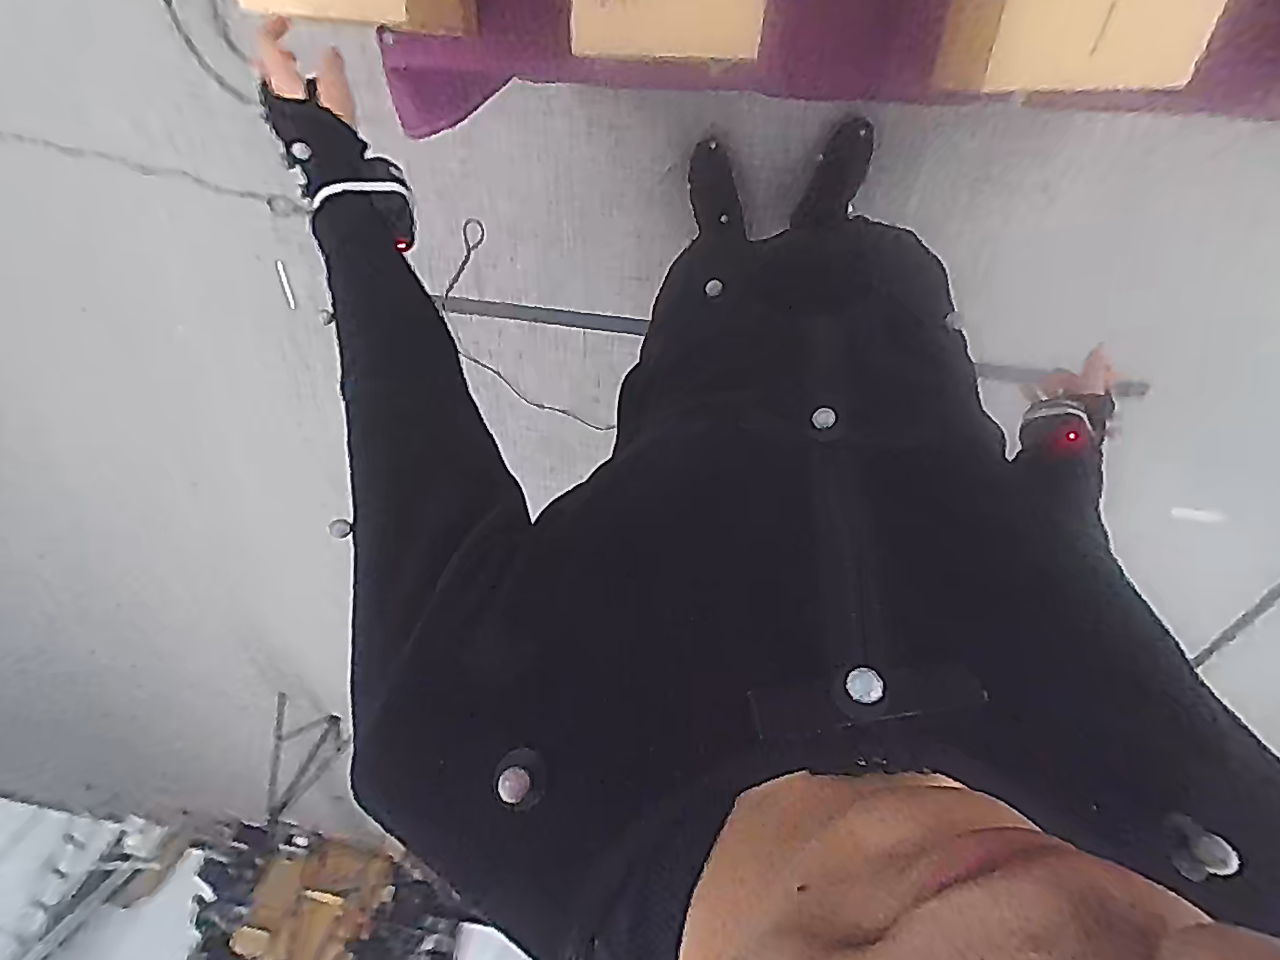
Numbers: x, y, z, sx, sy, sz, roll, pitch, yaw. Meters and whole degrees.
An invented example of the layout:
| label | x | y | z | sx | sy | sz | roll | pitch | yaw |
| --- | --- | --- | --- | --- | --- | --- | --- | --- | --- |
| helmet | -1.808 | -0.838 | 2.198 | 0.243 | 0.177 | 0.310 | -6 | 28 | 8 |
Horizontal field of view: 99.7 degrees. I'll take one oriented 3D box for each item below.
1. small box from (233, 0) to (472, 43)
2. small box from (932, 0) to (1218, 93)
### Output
| label | x | y | z | sx | sy | sz | roll | pitch | yaw |
| --- | --- | --- | --- | --- | --- | --- | --- | --- | --- |
| small box | -0.290 | -0.549 | 0.538 | 0.179 | 0.176 | 0.168 | 7 | 127 | 4 |
| small box | 0.387 | -0.456 | 0.483 | 0.168 | 0.176 | 0.179 | 4 | 128 | 8 |
